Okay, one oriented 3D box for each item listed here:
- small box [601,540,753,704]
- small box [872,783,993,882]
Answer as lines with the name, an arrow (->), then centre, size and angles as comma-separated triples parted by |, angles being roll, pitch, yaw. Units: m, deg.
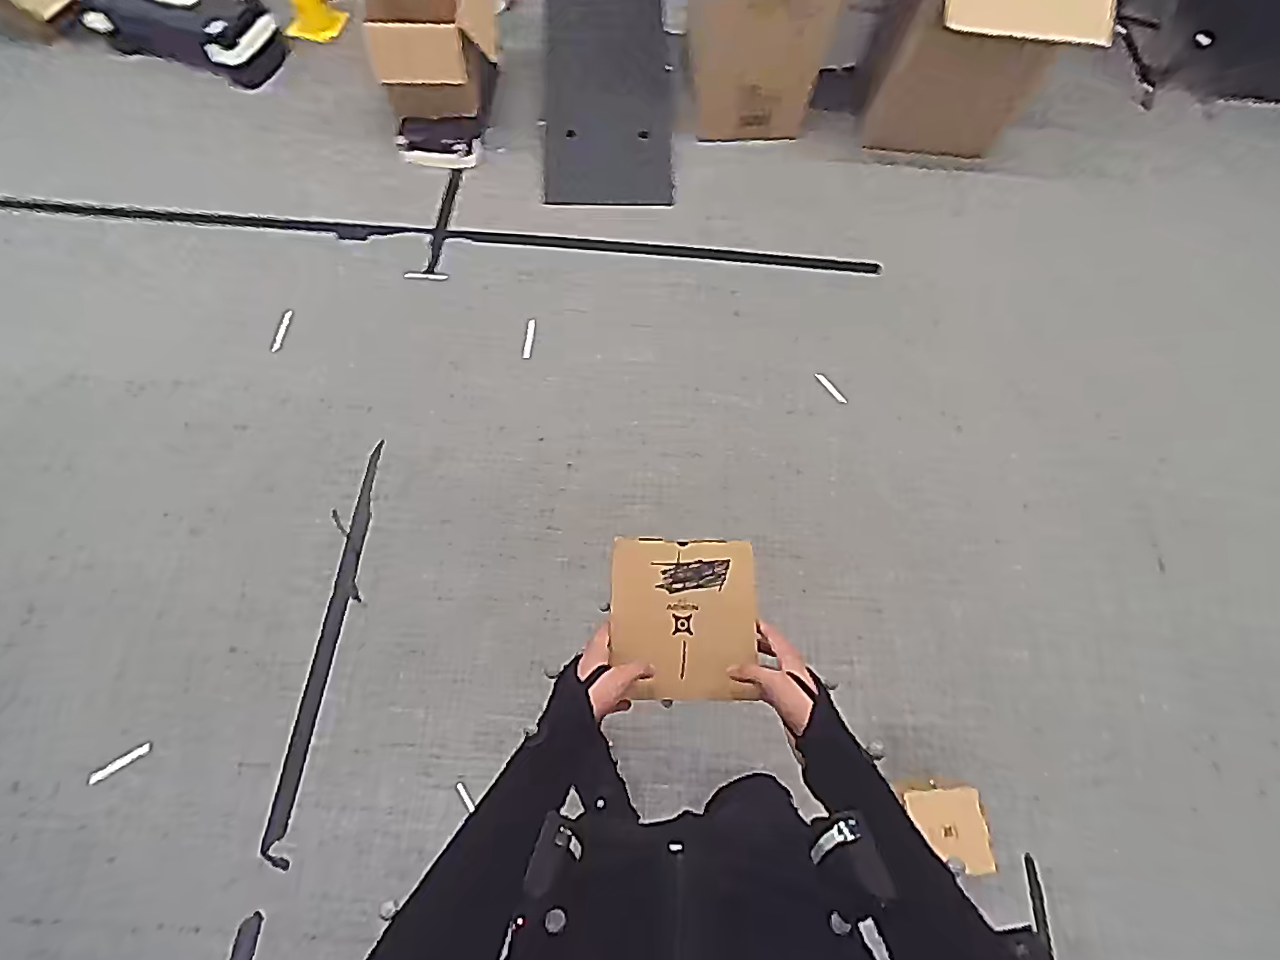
small box -> 0.037, 0.180, 0.679 | 0.168, 0.176, 0.179 | 2, 73, -3
small box -> 0.681, 0.824, 1.280 | 0.179, 0.176, 0.168 | -1, 68, -3
